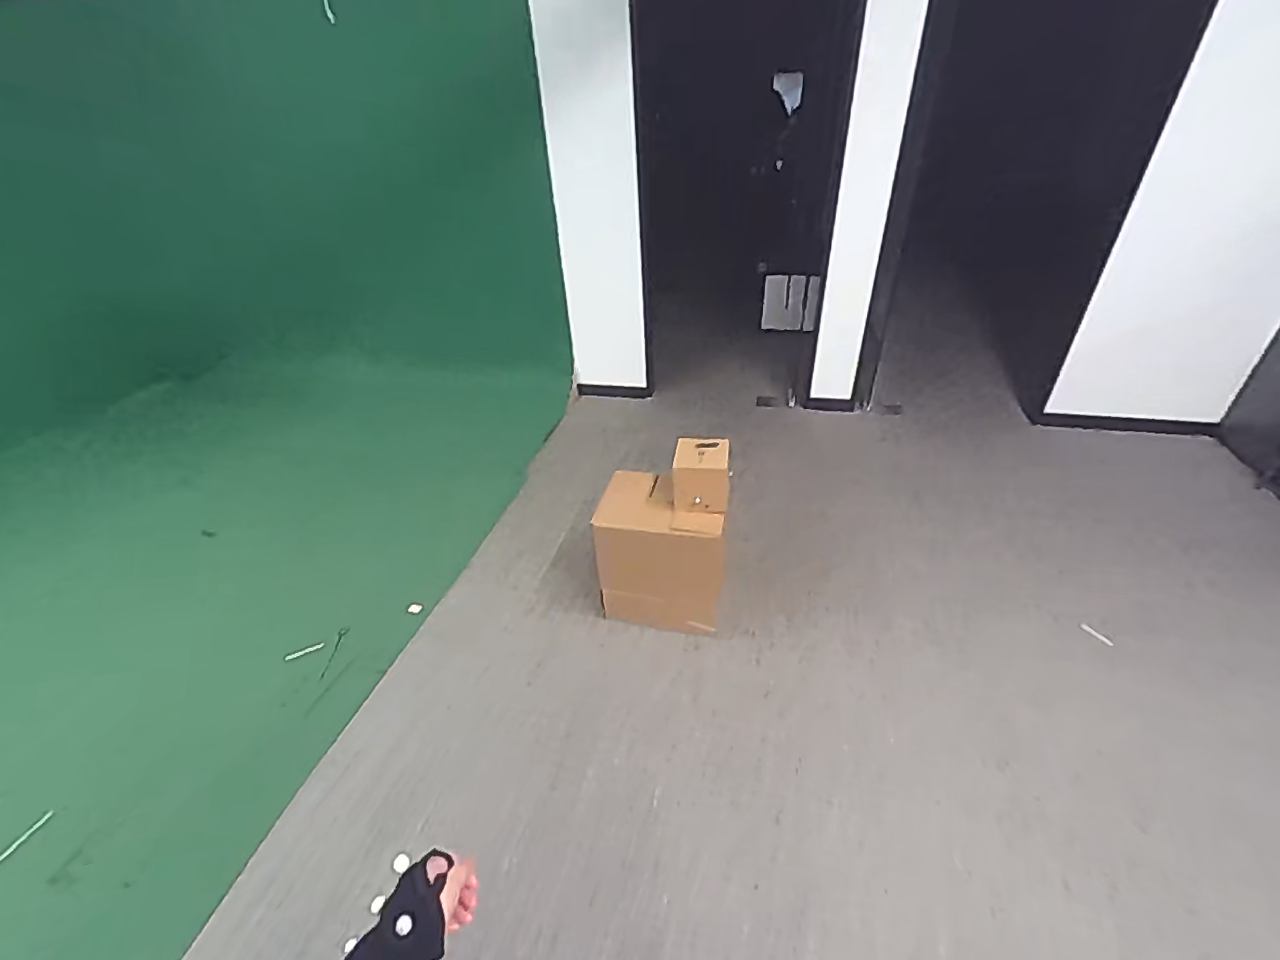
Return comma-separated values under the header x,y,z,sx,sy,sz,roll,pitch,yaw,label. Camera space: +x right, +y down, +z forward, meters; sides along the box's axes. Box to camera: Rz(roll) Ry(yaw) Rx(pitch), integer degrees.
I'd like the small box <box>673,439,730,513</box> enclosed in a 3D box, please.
x,y,z,sx,sy,sz,roll,pitch,yaw,label
0.199,-0.014,1.732,0.168,0.176,0.179,2,36,11,small box
